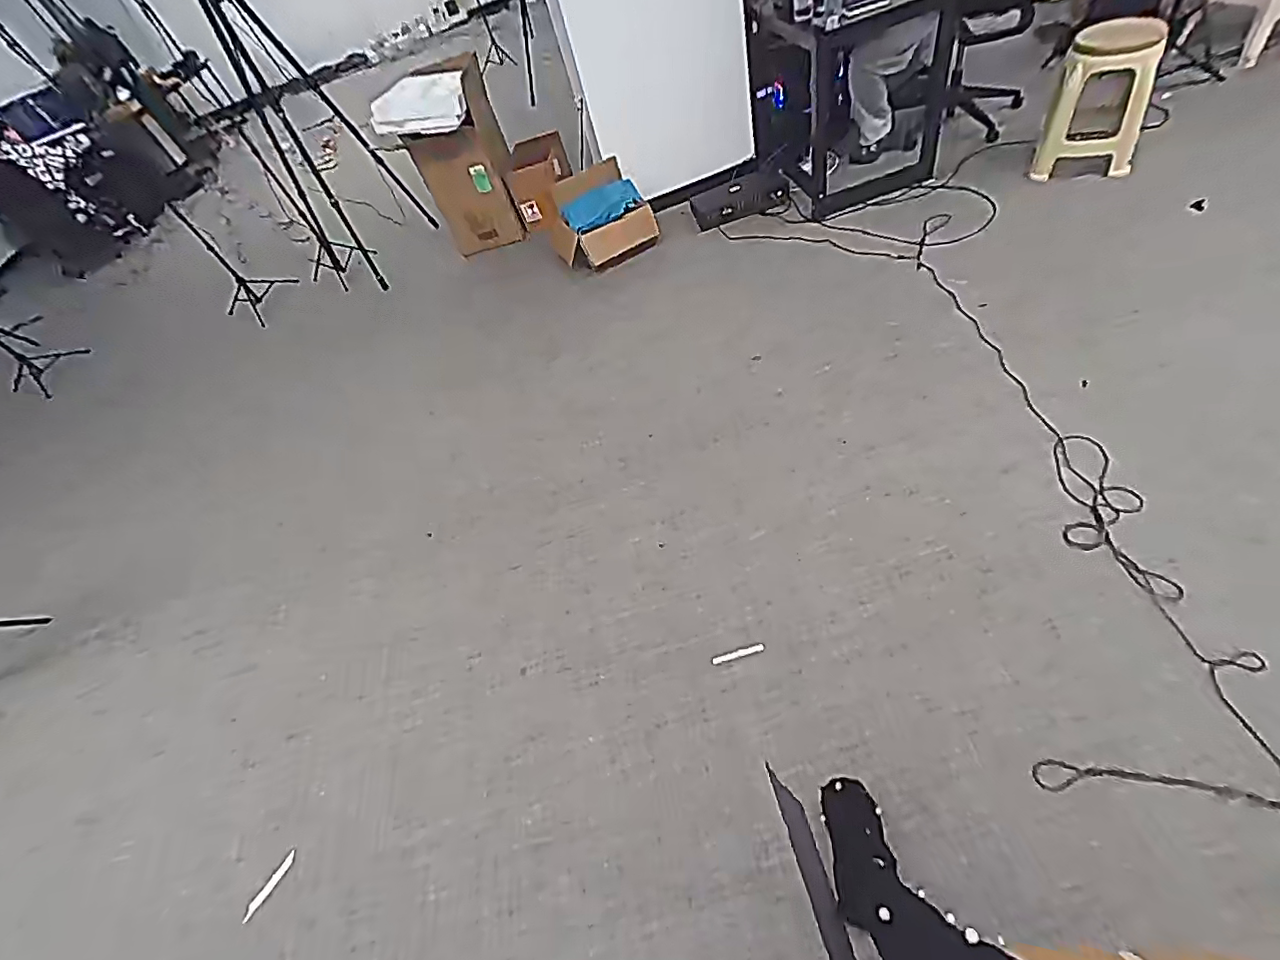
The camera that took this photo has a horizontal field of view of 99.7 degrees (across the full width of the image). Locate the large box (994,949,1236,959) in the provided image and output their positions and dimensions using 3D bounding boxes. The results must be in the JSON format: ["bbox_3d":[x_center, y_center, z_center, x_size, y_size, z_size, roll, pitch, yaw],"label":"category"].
[{"bbox_3d":[0.619,0.728,0.506,0.320,0.408,0.320,-5,69,10],"label":"large box"}]
